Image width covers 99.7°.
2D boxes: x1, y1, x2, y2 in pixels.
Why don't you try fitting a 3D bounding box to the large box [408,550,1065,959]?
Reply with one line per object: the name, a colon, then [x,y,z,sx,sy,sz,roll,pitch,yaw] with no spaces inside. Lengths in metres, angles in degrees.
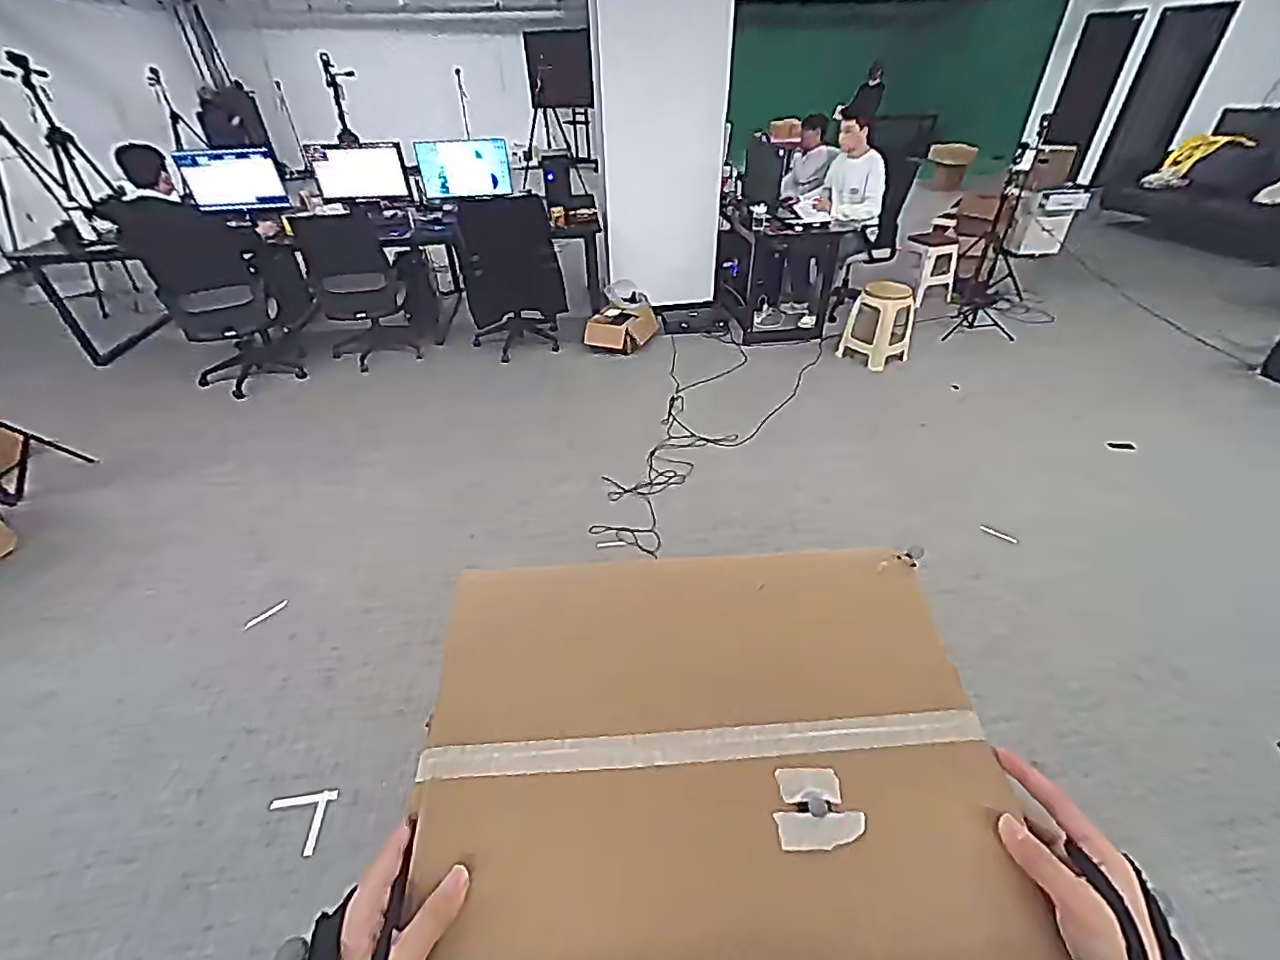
large box: [0.049,0.289,0.518,0.408,0.320,0.320,-3,52,-2]
